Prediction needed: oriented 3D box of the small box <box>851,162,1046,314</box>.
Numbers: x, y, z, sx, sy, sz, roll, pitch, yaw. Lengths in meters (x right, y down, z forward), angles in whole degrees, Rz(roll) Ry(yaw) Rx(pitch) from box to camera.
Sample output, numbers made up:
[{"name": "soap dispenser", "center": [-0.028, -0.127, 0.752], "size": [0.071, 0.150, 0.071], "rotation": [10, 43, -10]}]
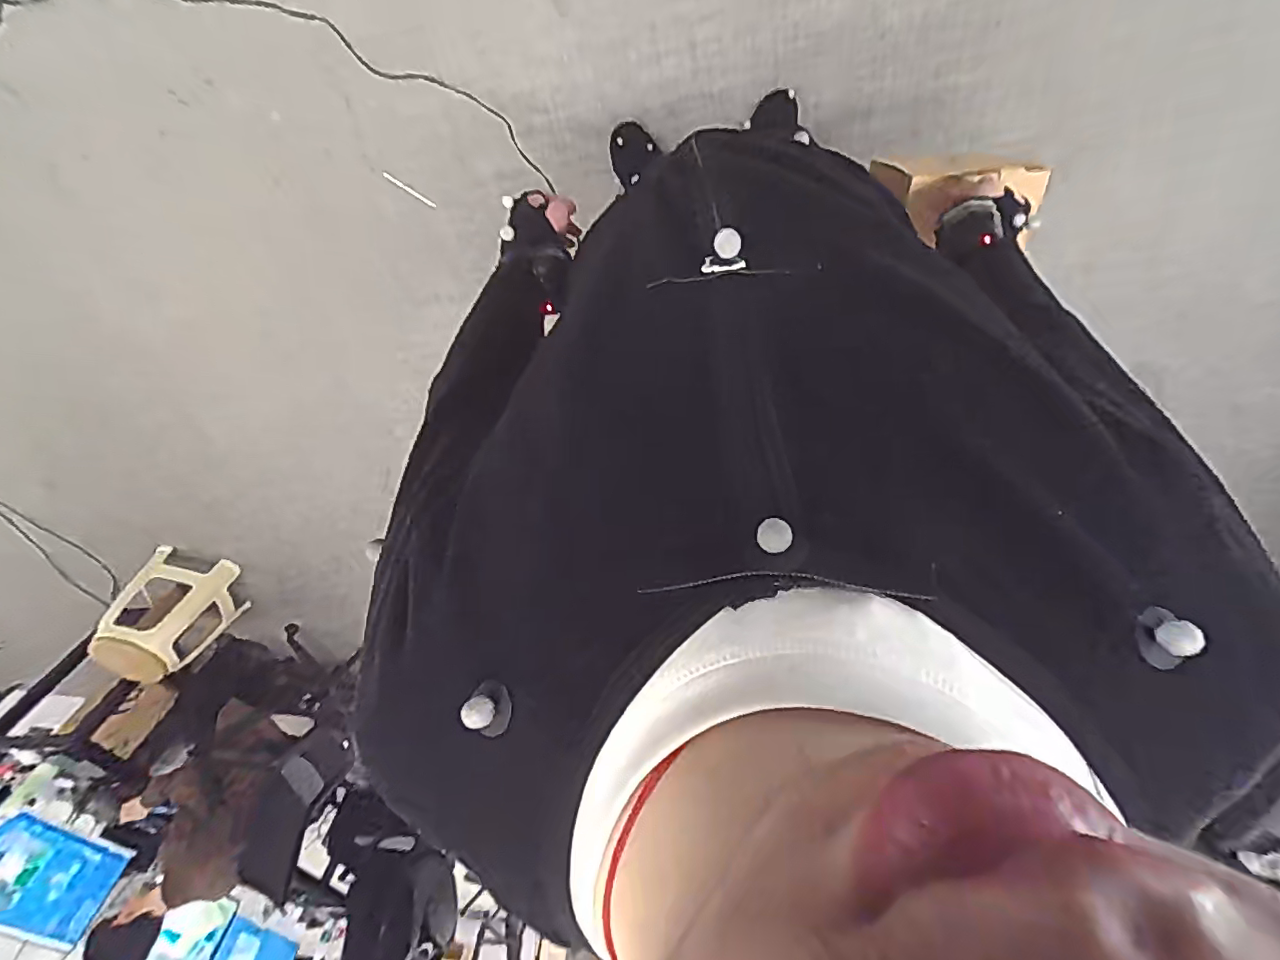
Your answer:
[{"name": "small box", "center": [0.422, -0.344, 0.775], "size": [0.168, 0.179, 0.176], "rotation": [-2, 126, 1]}]
